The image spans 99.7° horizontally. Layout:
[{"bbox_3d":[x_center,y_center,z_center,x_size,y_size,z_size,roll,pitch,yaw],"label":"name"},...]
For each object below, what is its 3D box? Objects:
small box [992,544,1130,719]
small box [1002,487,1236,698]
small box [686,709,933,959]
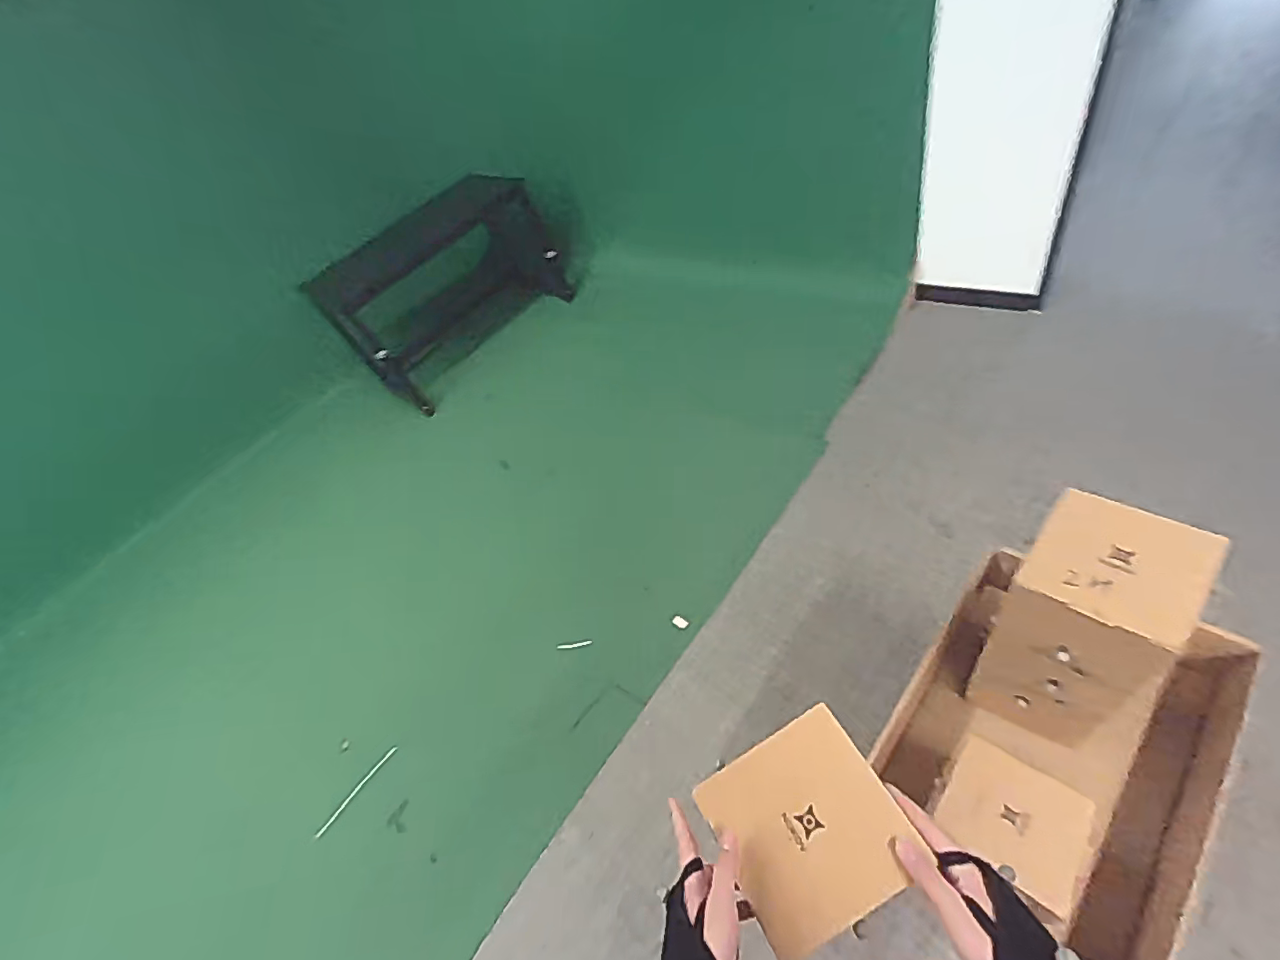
[{"bbox_3d":[0.668,0.236,0.836,0.168,0.176,0.179,21,63,34],"label":"small box"},{"bbox_3d":[0.608,0.147,0.710,0.168,0.176,0.179,29,68,39],"label":"small box"},{"bbox_3d":[0.178,0.381,0.594,0.179,0.176,0.168,-34,56,-2],"label":"small box"}]
